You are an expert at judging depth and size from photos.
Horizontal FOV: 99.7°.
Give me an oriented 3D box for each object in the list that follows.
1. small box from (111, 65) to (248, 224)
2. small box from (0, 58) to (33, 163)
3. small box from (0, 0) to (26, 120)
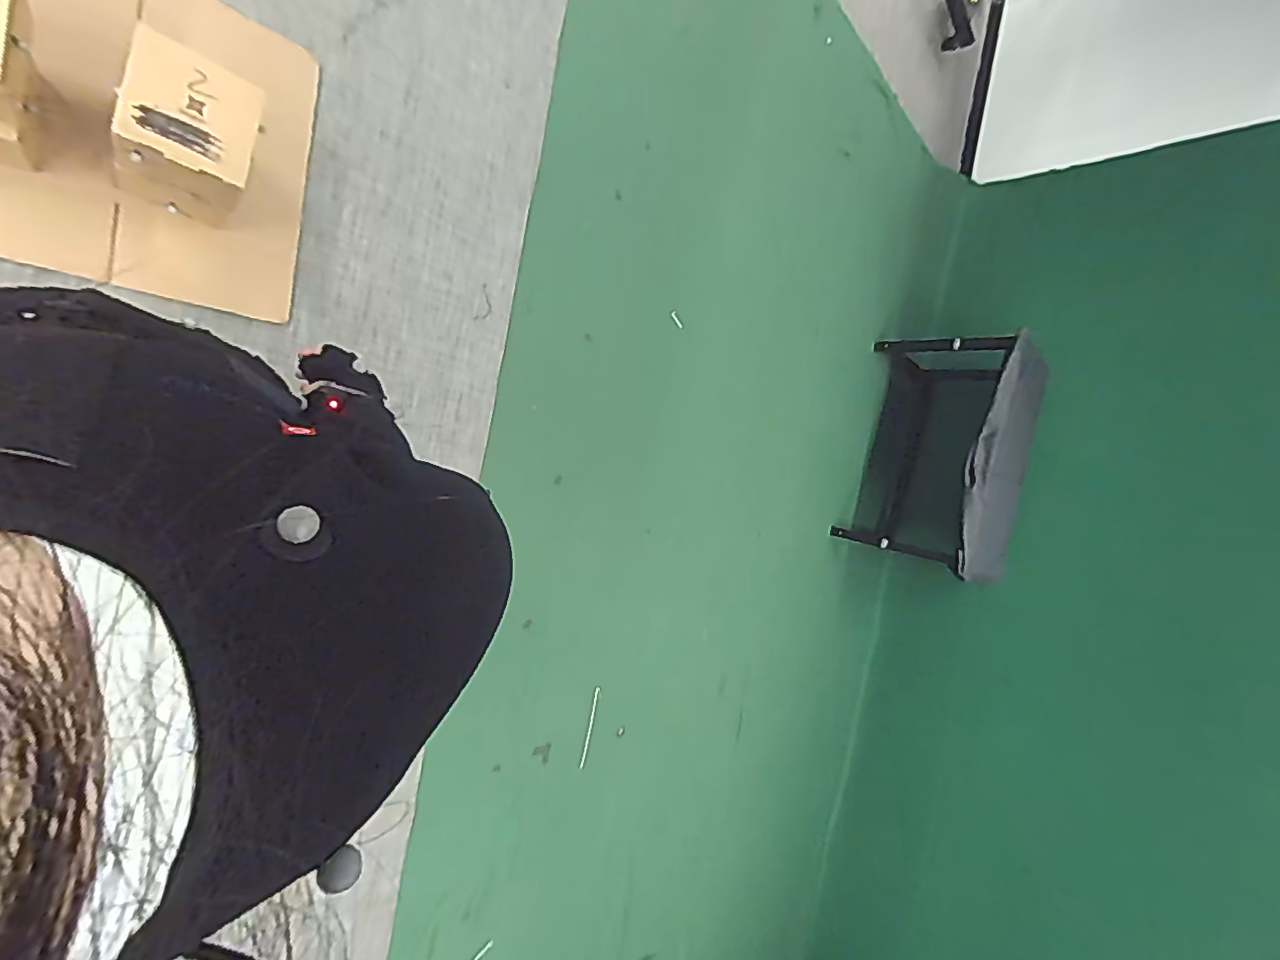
[{"bbox_3d":[-0.876,-0.623,1.030,0.168,0.176,0.179,13,90,-43],"label":"small box"},{"bbox_3d":[-1.078,-0.629,0.838,0.168,0.176,0.179,3,96,-43],"label":"small box"},{"bbox_3d":[-0.960,-0.634,0.722,0.168,0.176,0.179,7,93,-44],"label":"small box"}]
